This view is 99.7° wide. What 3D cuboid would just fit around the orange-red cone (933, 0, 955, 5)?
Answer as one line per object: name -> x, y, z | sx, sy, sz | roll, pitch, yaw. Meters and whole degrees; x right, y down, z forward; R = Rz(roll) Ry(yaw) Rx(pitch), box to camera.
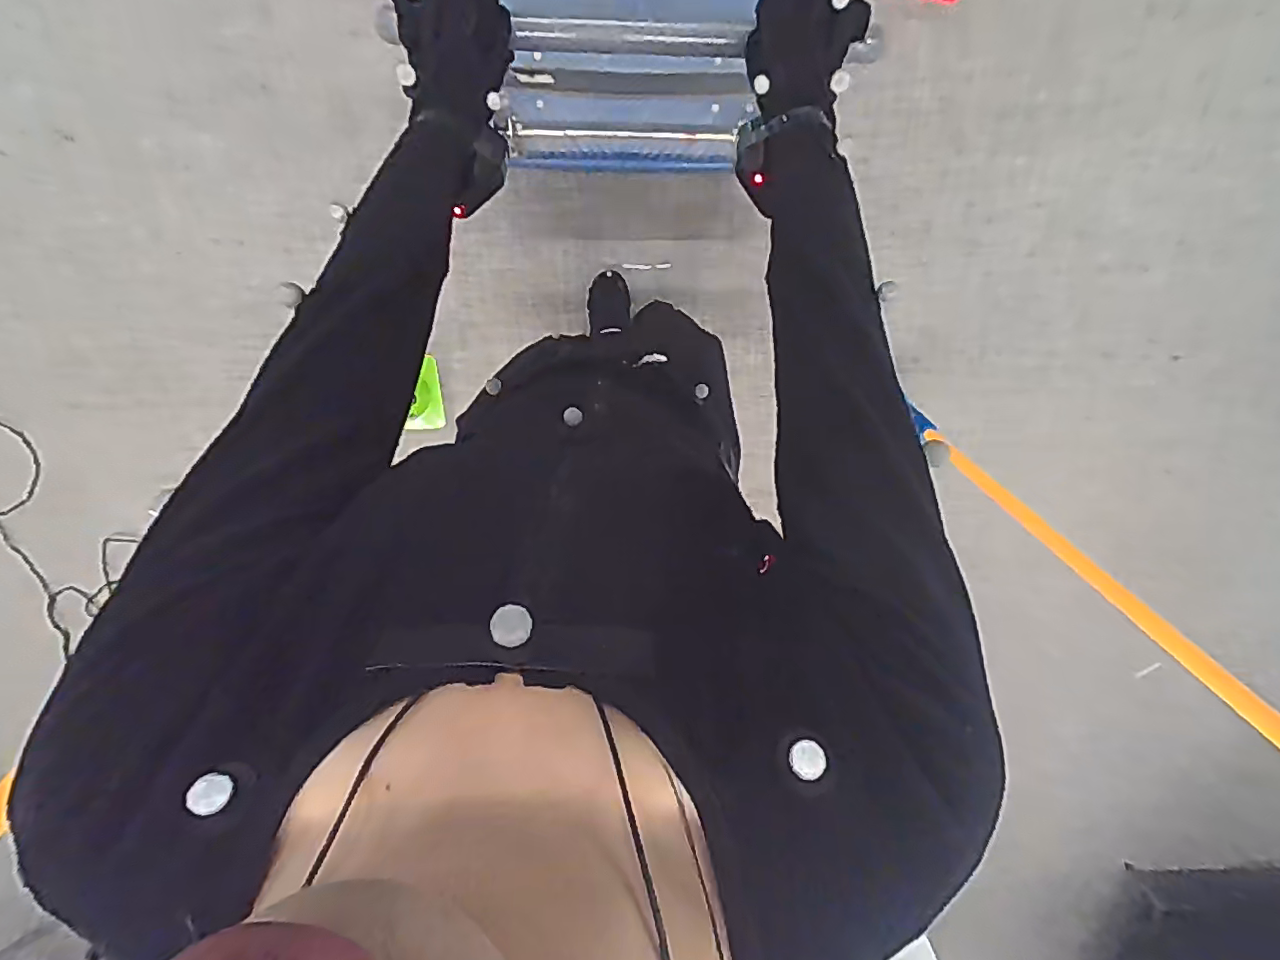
orange-red cone -> 0.614, -1.071, 0.973 | 0.198, 0.360, 0.199 | 10, 111, -4
